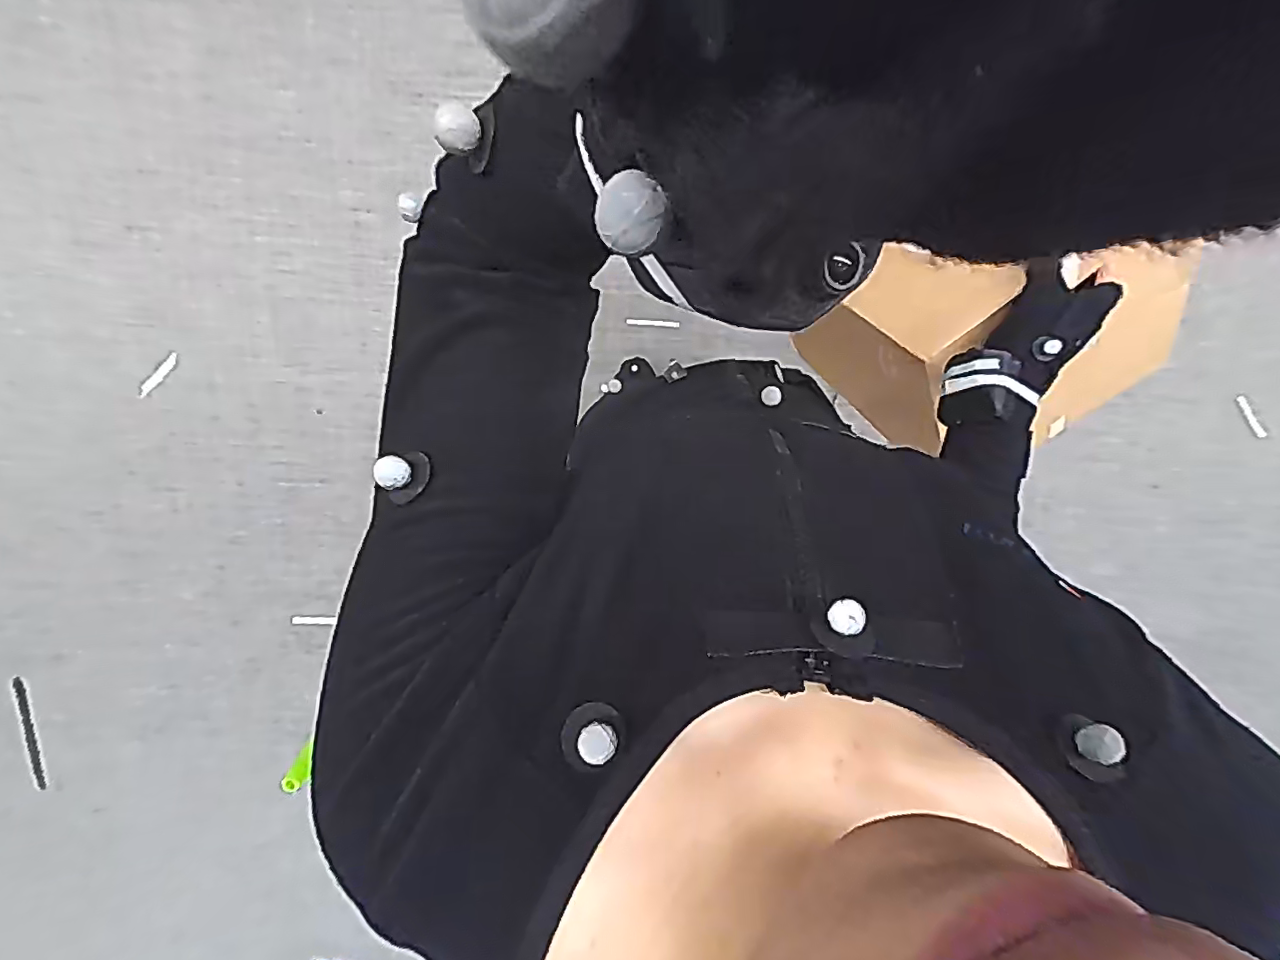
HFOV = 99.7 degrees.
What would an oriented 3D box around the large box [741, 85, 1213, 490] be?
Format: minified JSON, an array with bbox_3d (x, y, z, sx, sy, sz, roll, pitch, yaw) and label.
[{"bbox_3d":[0.410,-0.267,0.760,0.320,0.408,0.320,-36,138,10],"label":"large box"}]
